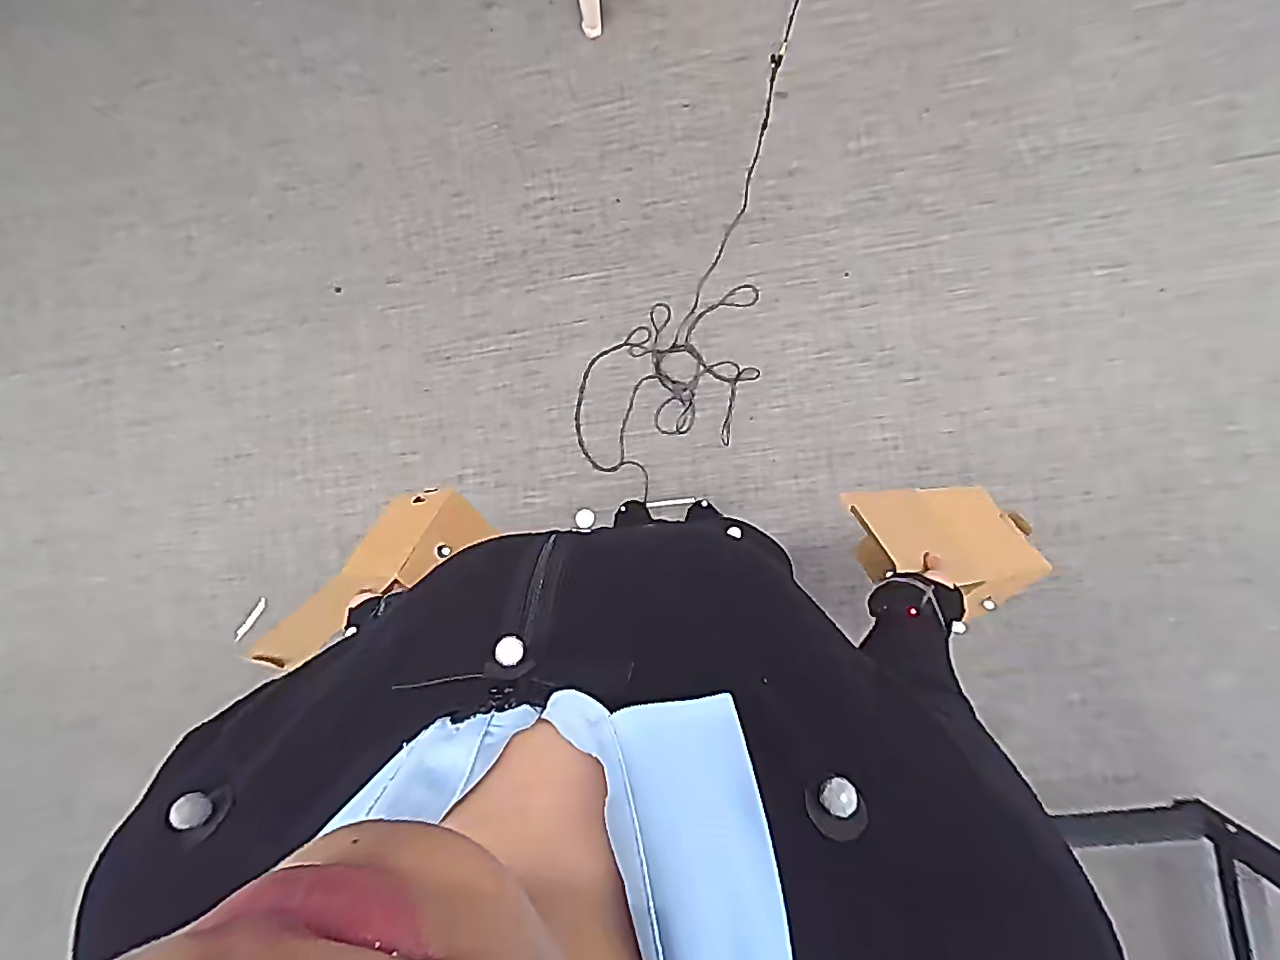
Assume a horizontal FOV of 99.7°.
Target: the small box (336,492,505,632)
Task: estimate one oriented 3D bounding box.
[{"bbox_3d":[-0.364,0.144,0.929,0.168,0.176,0.179,-6,45,32],"label":"small box"}]
